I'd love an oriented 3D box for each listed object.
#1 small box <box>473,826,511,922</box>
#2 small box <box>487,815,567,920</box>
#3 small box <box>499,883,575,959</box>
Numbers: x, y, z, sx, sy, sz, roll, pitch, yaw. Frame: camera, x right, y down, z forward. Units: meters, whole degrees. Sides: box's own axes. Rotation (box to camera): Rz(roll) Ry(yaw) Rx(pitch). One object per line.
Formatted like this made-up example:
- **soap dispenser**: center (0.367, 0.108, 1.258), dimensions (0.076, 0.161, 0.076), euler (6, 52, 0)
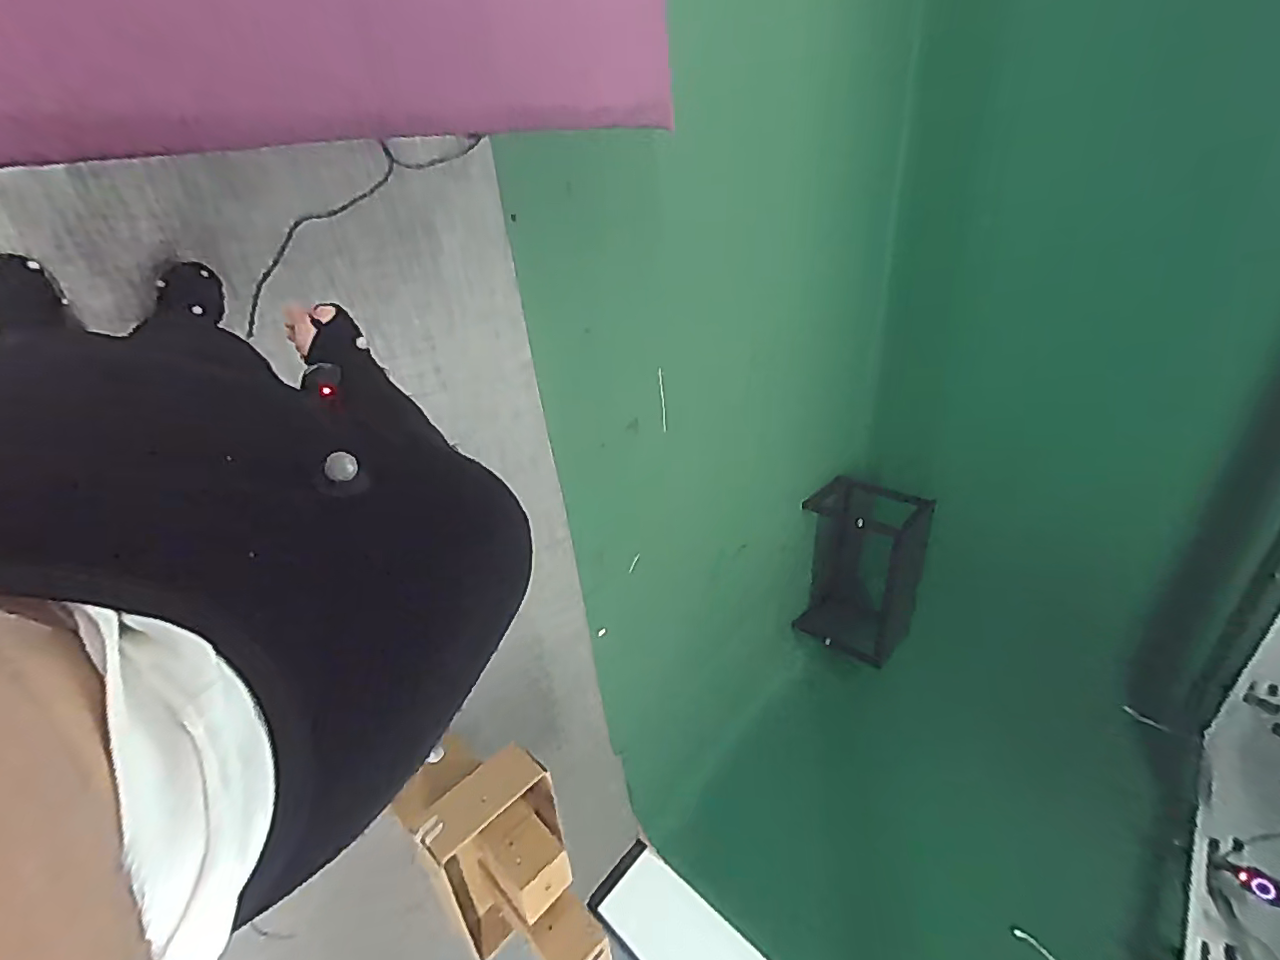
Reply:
- **small box**: center (-0.456, 1.361, 1.881), dimensions (0.168, 0.176, 0.179), euler (-29, 125, -39)
- **small box**: center (-0.349, 1.179, 1.663), dimensions (0.168, 0.176, 0.179), euler (-27, 126, -38)
- **small box**: center (-0.339, 1.400, 1.776), dimensions (0.168, 0.176, 0.179), euler (-29, 124, -38)
